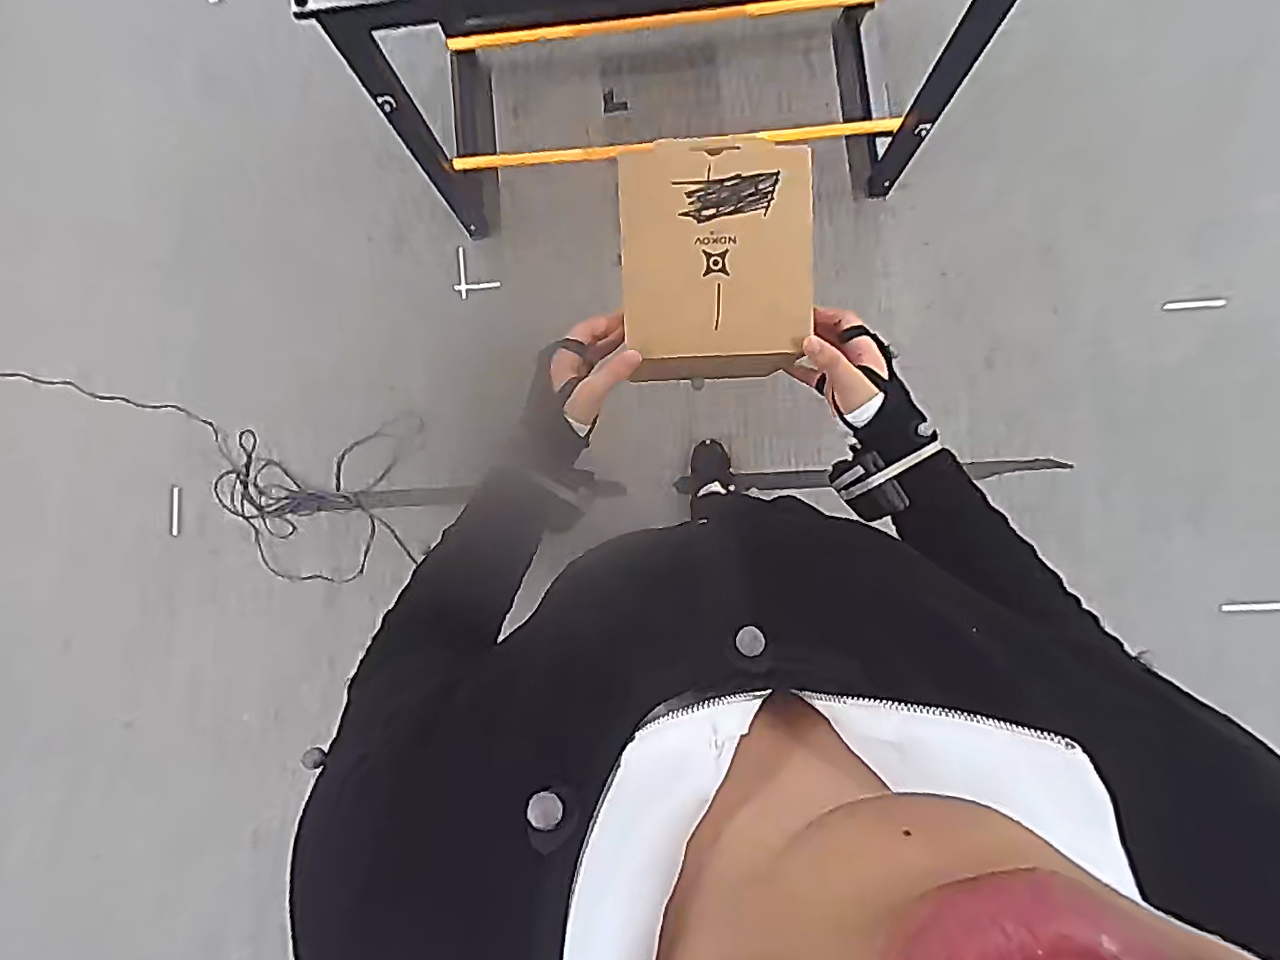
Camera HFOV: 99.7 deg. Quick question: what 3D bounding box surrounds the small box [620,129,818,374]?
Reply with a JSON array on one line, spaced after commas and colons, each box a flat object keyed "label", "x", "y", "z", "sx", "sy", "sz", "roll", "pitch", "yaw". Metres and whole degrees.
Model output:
[{"label": "small box", "x": 0.065, "y": -0.208, "z": 0.535, "sx": 0.168, "sy": 0.176, "sz": 0.179, "roll": -3, "pitch": 94, "yaw": 0}]
